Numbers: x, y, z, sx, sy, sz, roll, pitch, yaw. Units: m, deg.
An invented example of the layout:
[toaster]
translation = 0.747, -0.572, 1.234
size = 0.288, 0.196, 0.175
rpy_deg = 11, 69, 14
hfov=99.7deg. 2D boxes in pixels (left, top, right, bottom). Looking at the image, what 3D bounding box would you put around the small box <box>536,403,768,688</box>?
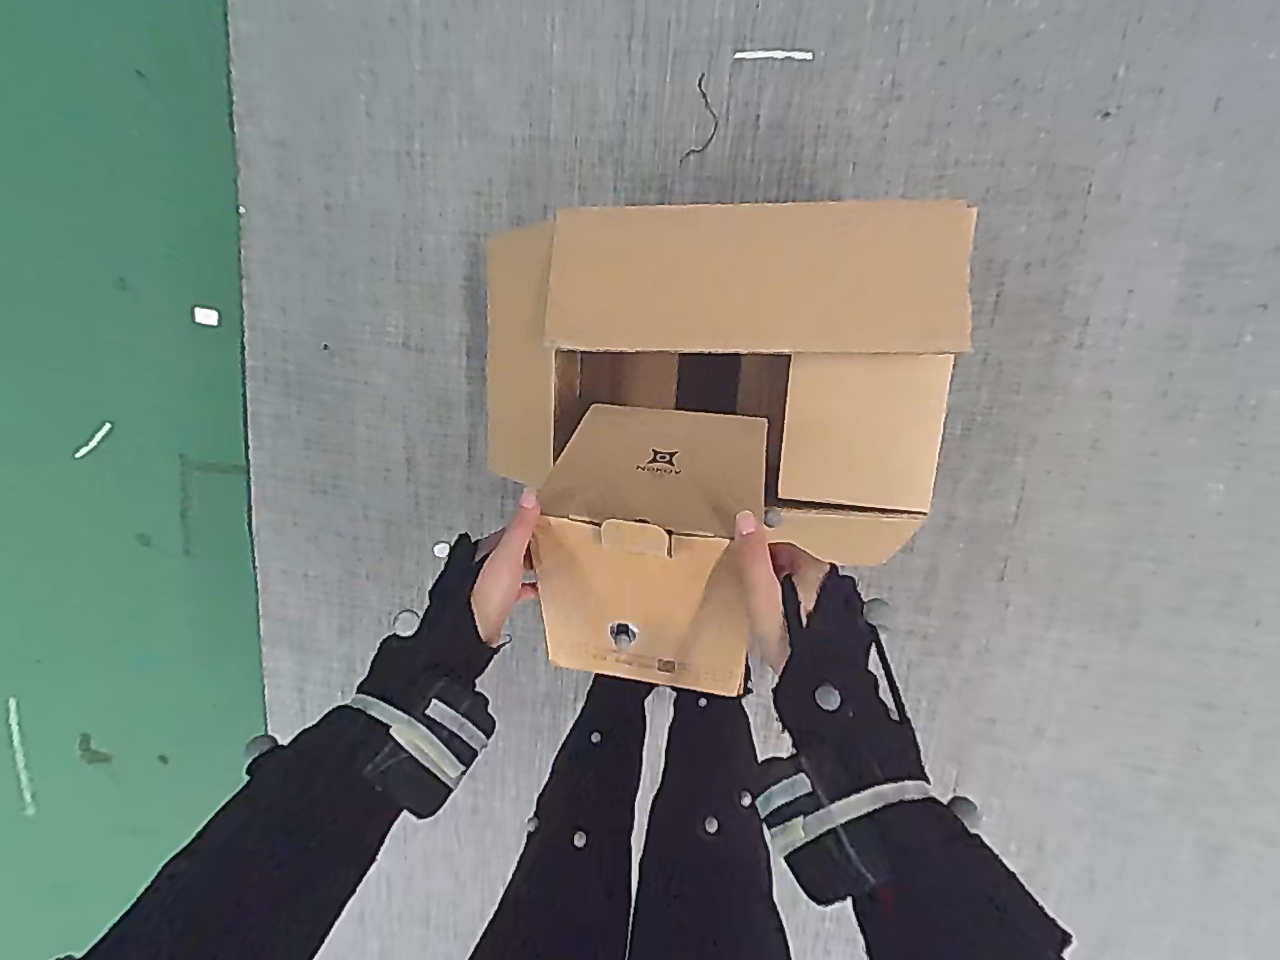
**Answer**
[small box]
translation = 0.019, 0.050, 0.483
size = 0.168, 0.179, 0.176
rpy_deg = 6, 124, 9
